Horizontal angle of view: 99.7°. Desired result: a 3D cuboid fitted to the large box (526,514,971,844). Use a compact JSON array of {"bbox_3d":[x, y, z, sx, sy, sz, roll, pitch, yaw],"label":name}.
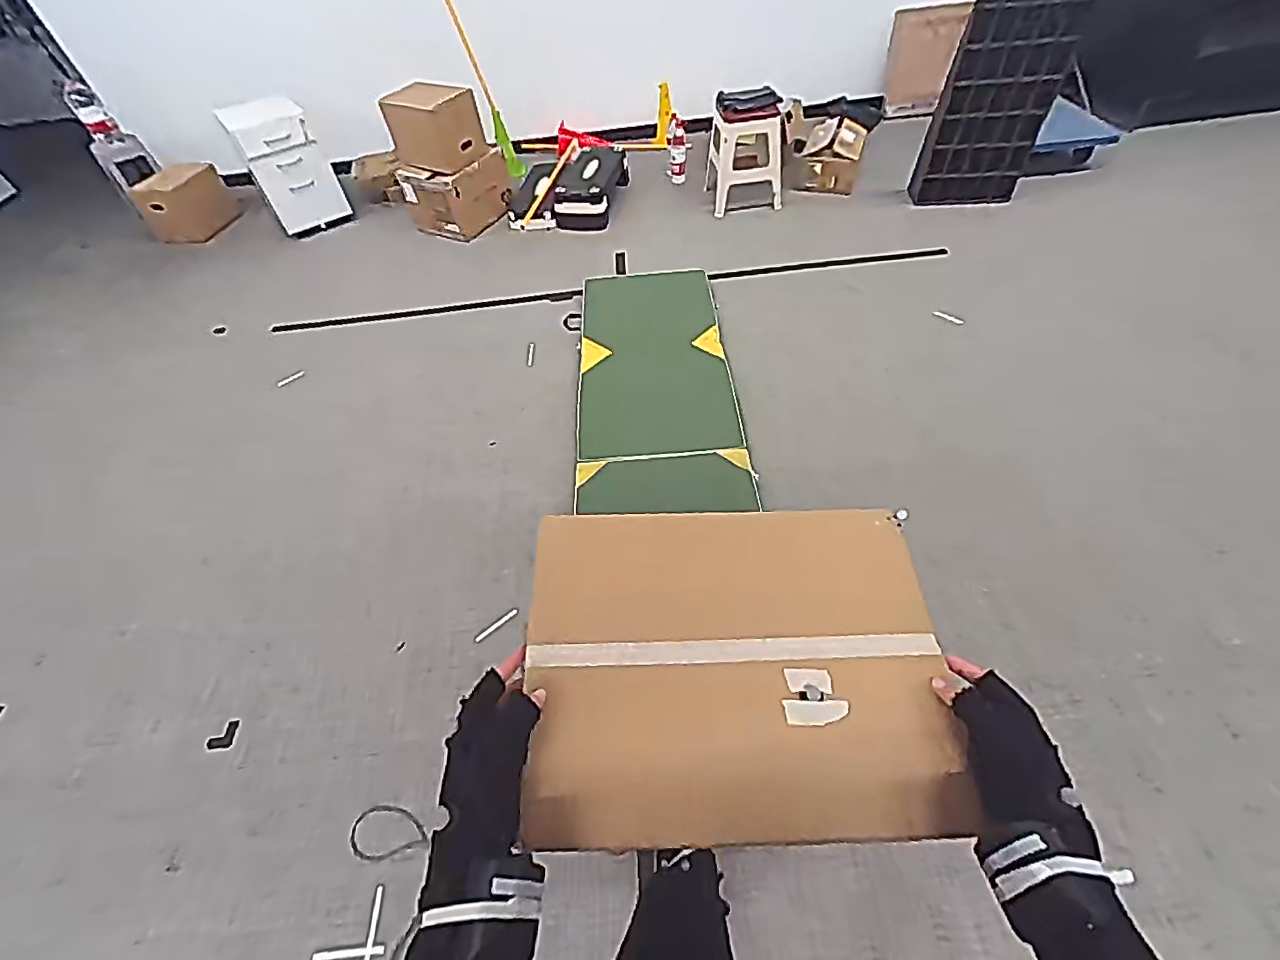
[{"bbox_3d":[0.087,0.257,0.675,0.408,0.320,0.320,-1,56,-2],"label":"large box"}]
